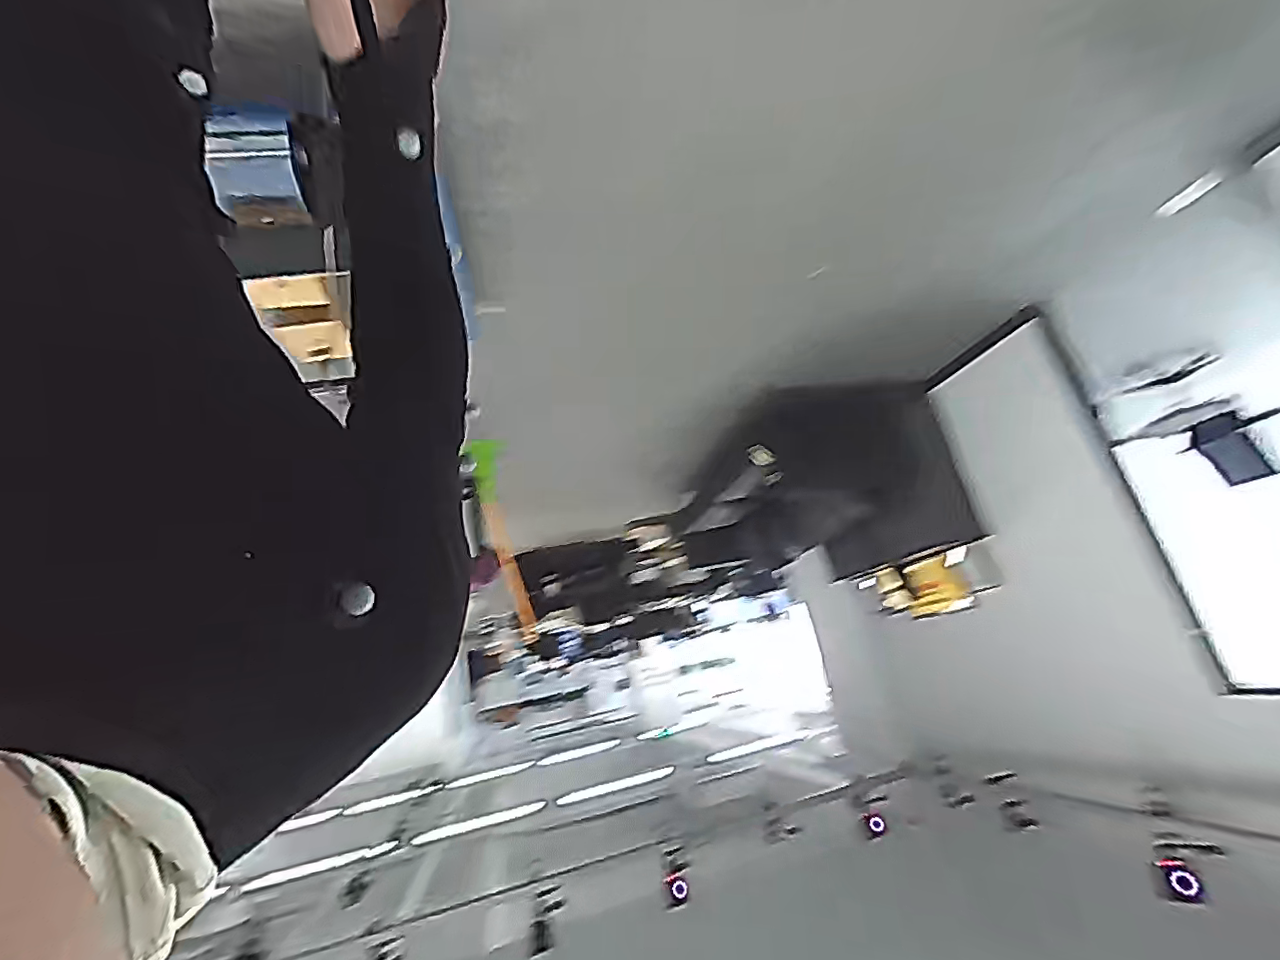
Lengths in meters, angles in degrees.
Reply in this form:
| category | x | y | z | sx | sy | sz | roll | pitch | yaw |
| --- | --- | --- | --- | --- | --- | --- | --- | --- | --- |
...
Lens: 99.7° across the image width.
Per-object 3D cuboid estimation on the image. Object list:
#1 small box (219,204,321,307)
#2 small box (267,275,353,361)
| category | x | y | z | sx | sy | sz | roll | pitch | yaw |
| --- | --- | --- | --- | --- | --- | --- | --- | --- | --- |
| small box | -0.925 | -0.564 | 1.367 | 0.168 | 0.176 | 0.179 | -8 | 160 | -14 |
| small box | -0.968 | -0.476 | 1.596 | 0.168 | 0.176 | 0.179 | -10 | 160 | -10 |
